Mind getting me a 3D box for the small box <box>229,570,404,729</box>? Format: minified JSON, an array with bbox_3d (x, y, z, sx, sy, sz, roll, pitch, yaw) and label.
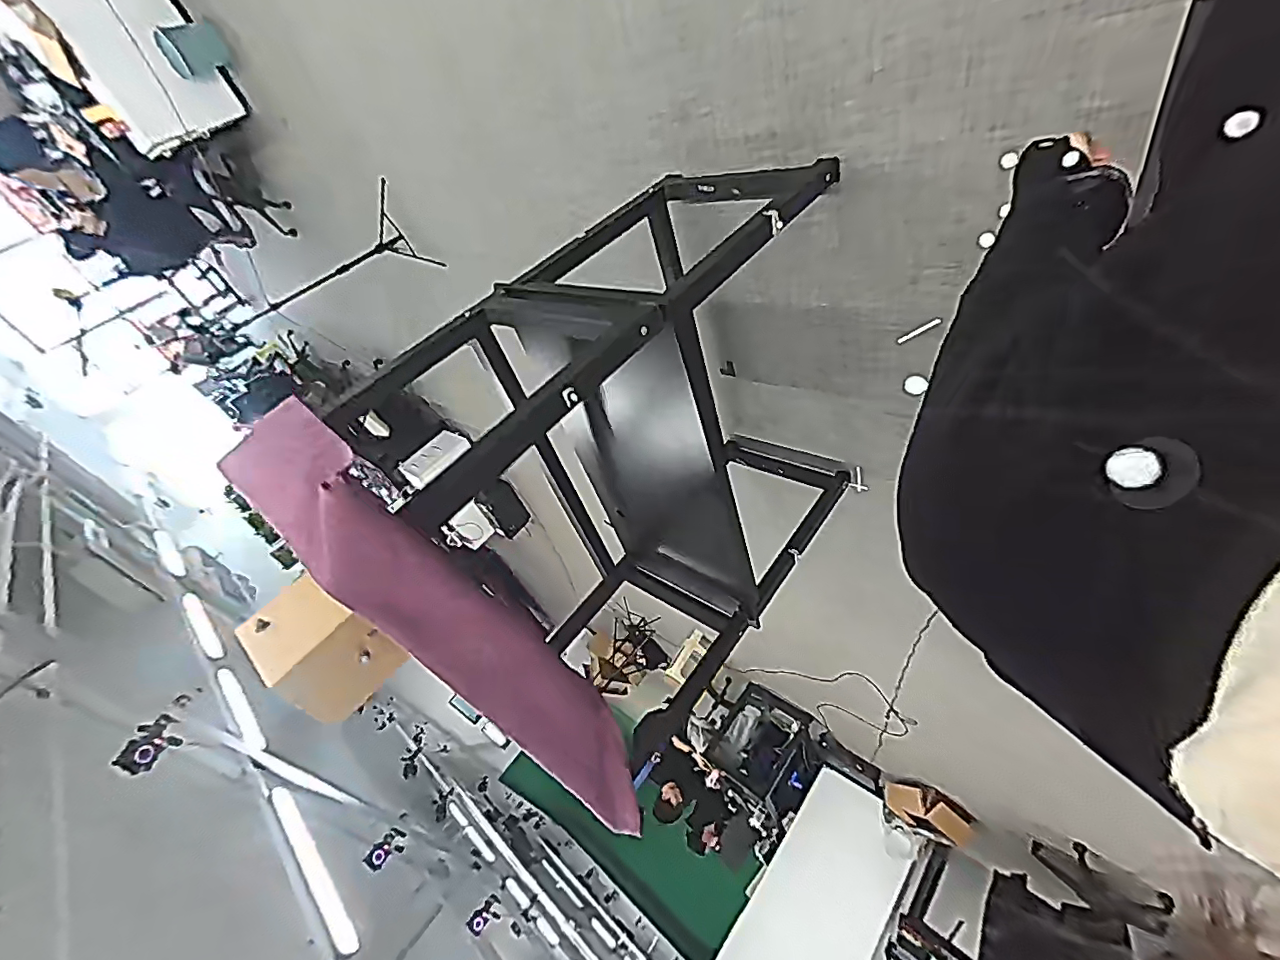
[{"bbox_3d":[-0.548,0.282,0.933,0.179,0.176,0.168,24,150,36],"label":"small box"}]
